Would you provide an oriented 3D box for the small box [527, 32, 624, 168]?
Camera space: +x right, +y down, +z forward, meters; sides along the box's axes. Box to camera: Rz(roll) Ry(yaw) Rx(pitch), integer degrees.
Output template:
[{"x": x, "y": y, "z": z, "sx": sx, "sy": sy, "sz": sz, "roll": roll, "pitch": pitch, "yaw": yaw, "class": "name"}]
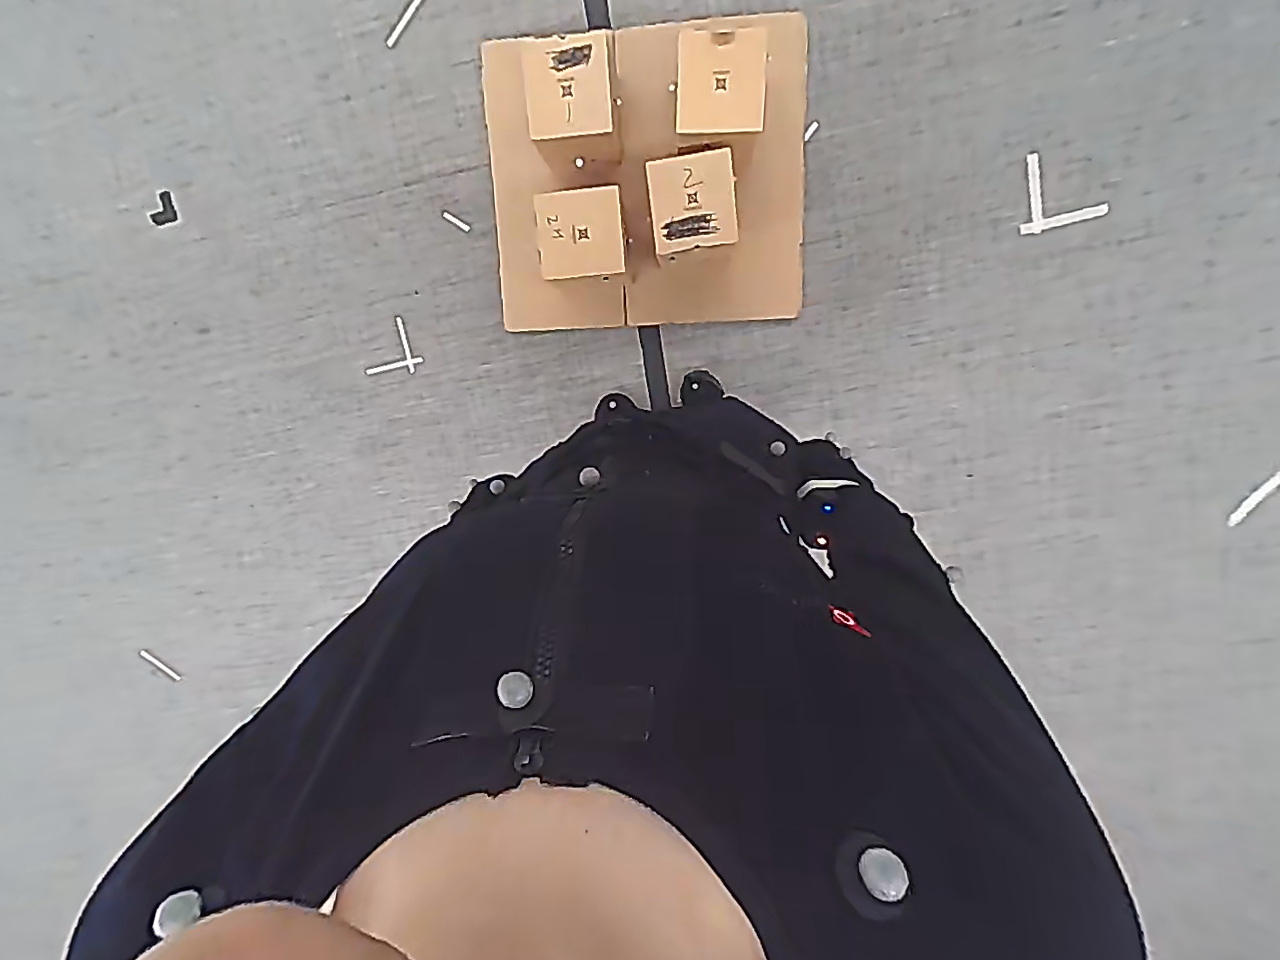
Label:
[{"x": -0.127, "y": -0.774, "z": 1.119, "sx": 0.168, "sy": 0.176, "sz": 0.179, "roll": -2, "pitch": 103, "yaw": 5, "class": "small box"}]
